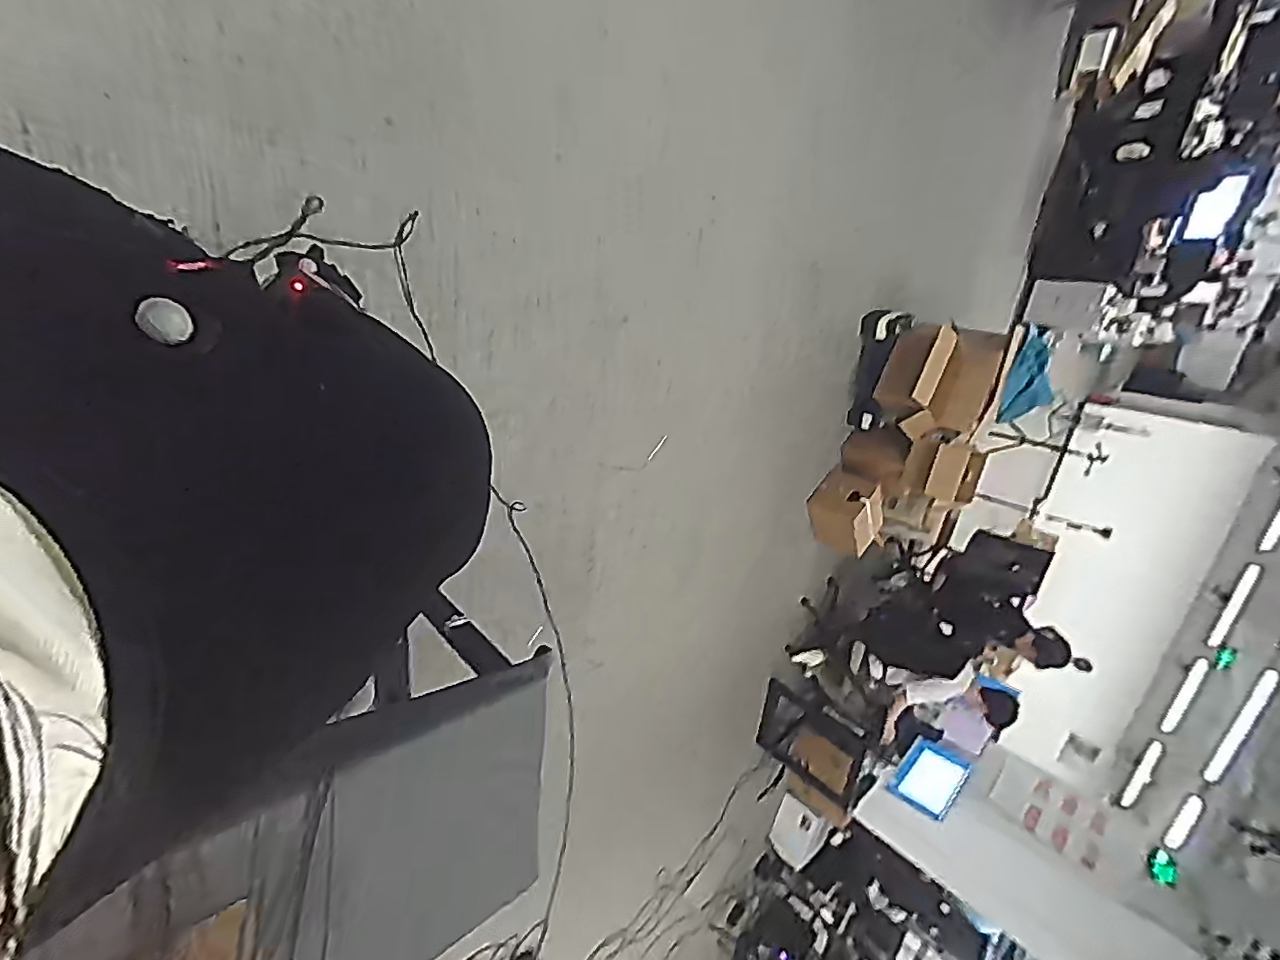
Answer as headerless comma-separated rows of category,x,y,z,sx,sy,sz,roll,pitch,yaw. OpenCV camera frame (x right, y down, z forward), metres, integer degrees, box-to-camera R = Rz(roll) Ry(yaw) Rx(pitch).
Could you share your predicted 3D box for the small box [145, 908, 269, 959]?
small box,-0.581,0.724,0.704,0.179,0.176,0.168,-11,116,-42
